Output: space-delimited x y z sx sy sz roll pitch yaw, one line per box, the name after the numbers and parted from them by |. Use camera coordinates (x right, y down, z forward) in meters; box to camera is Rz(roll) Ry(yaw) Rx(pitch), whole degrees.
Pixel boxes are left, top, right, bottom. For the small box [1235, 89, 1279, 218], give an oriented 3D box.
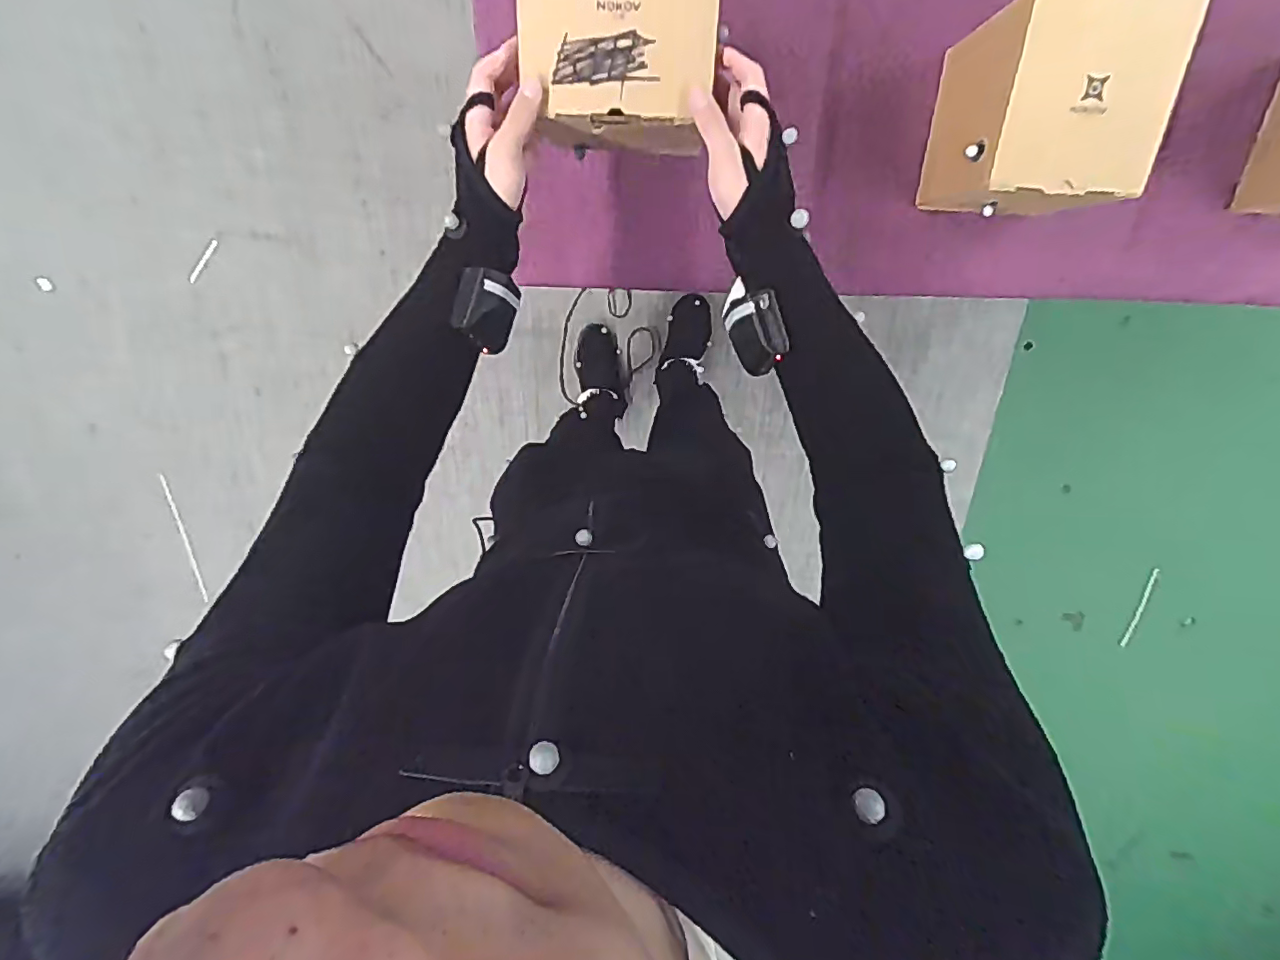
0.851 -0.396 0.604 0.168 0.176 0.179 4 112 1 | small box

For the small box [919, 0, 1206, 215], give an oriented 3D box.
0.447 -0.408 0.610 0.168 0.176 0.179 3 112 -1 | small box

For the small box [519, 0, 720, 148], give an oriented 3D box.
-0.013 -0.425 0.505 0.168 0.176 0.179 3 112 1 | small box
